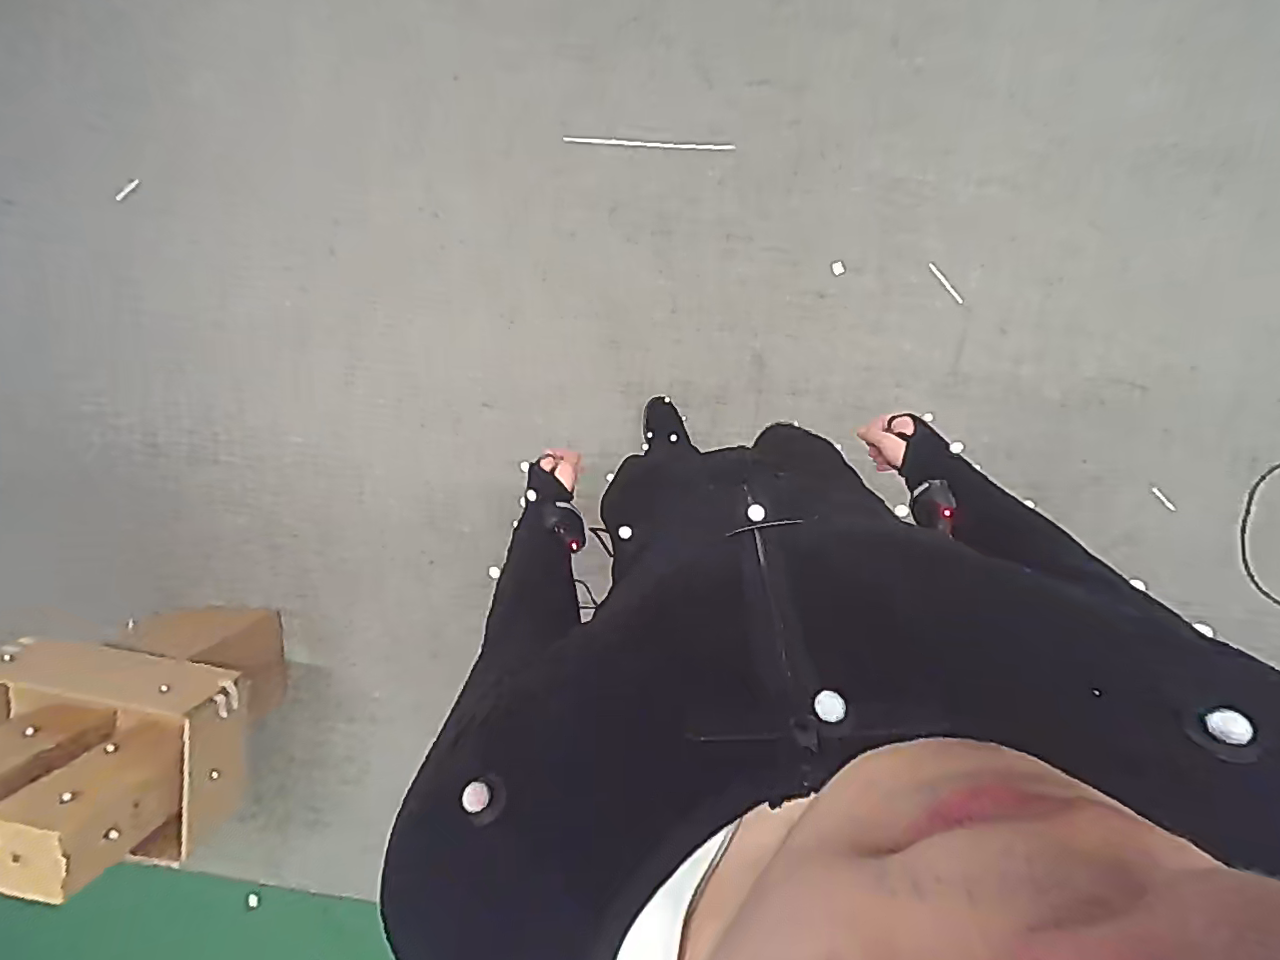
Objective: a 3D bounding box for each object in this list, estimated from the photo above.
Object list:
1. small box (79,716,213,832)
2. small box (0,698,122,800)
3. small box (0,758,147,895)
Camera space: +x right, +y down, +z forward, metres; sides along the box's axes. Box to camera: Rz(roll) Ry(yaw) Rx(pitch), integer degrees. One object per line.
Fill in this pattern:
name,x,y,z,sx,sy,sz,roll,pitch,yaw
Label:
small box,-1.186,0.698,1.304,0.179,0.176,0.168,10,99,4
small box,-1.435,0.656,1.322,0.179,0.176,0.168,7,98,0
small box,-1.199,0.720,1.143,0.179,0.176,0.168,10,98,3
